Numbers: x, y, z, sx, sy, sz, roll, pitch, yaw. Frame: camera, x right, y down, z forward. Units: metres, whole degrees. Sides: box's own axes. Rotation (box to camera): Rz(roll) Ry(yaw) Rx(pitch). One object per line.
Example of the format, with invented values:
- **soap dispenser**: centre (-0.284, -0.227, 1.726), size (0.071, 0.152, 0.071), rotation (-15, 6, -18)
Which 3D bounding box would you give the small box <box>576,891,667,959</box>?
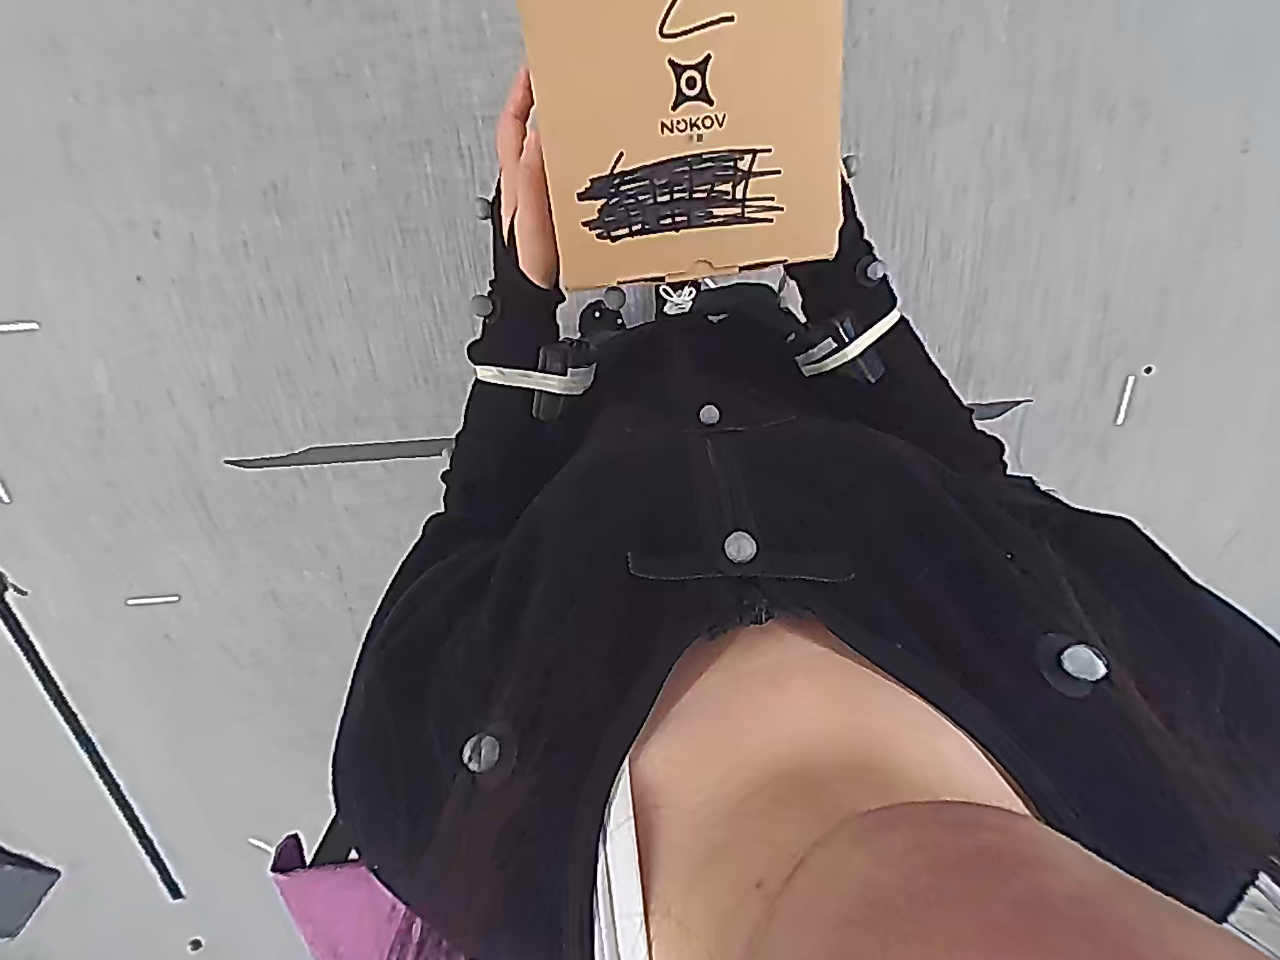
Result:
- **small box**: centre (-0.034, 0.925, 1.025), size (0.168, 0.176, 0.179), rotation (-3, 111, -3)
